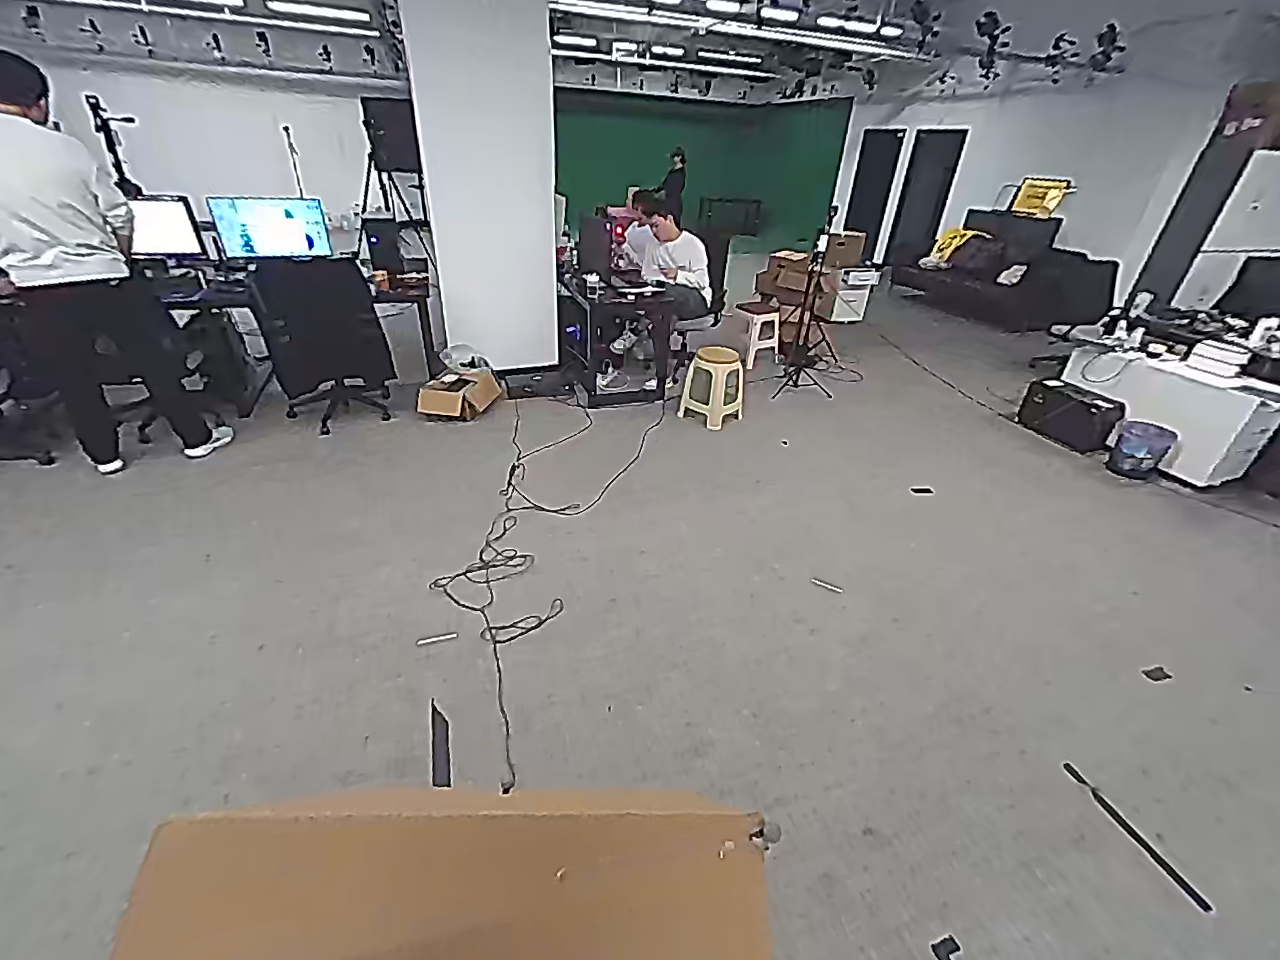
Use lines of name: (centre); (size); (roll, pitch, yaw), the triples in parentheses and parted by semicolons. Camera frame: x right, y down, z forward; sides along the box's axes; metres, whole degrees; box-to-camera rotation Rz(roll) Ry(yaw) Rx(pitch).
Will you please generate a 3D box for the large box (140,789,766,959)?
large box: (-0.127, 0.441, 0.447); (0.408, 0.320, 0.320); (2, 64, -5)
